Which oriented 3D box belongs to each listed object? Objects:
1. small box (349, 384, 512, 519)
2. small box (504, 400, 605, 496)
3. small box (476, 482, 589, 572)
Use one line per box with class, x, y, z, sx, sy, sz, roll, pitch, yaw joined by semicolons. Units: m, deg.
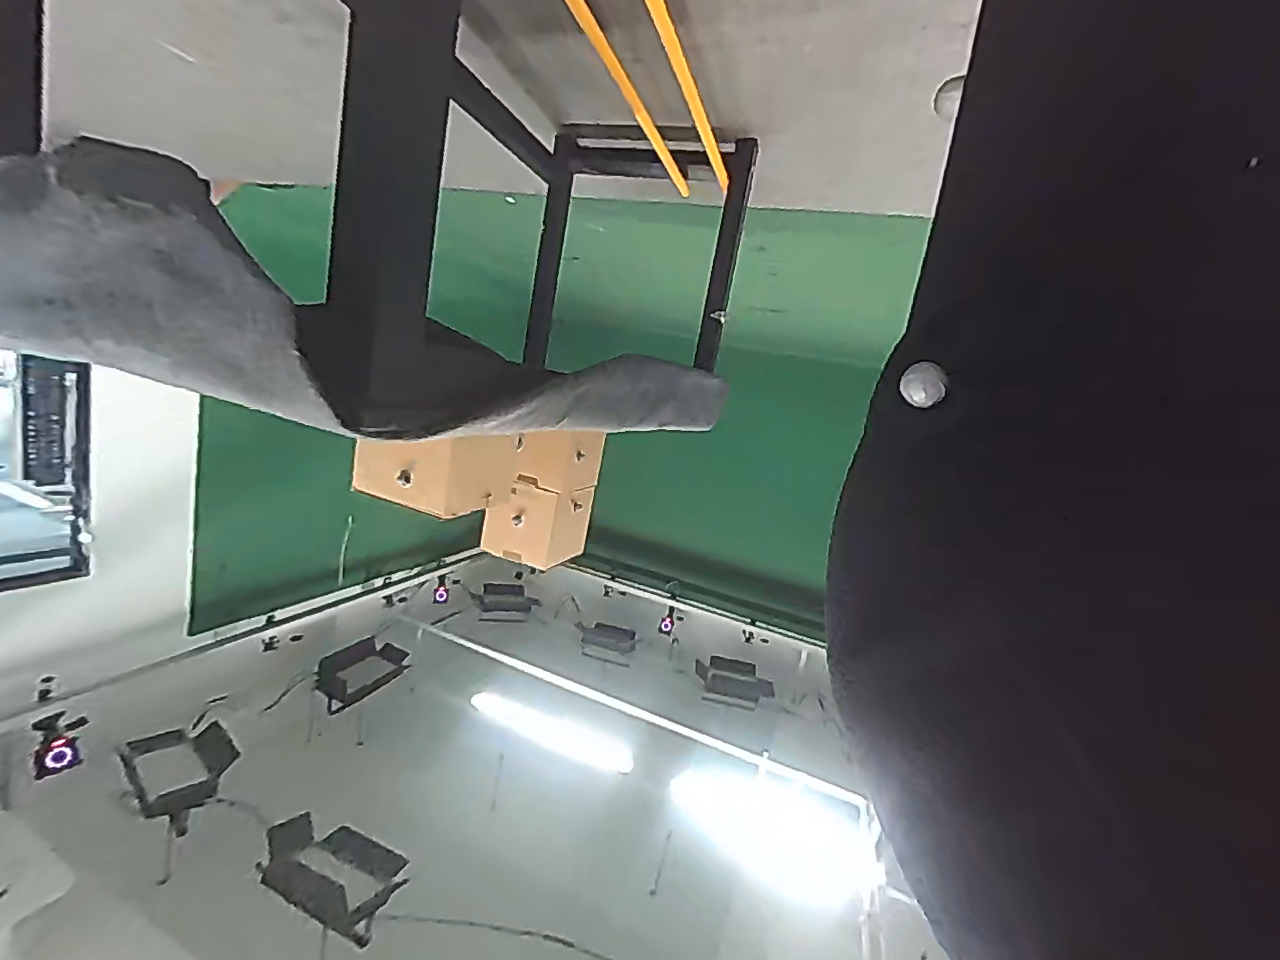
small box;-0.316;-0.051;0.839;0.179;0.176;0.168;15;-171;18
small box;-0.191;-0.073;1.152;0.168;0.176;0.179;15;-170;17
small box;-0.229;0.084;1.179;0.168;0.176;0.179;14;-172;18
